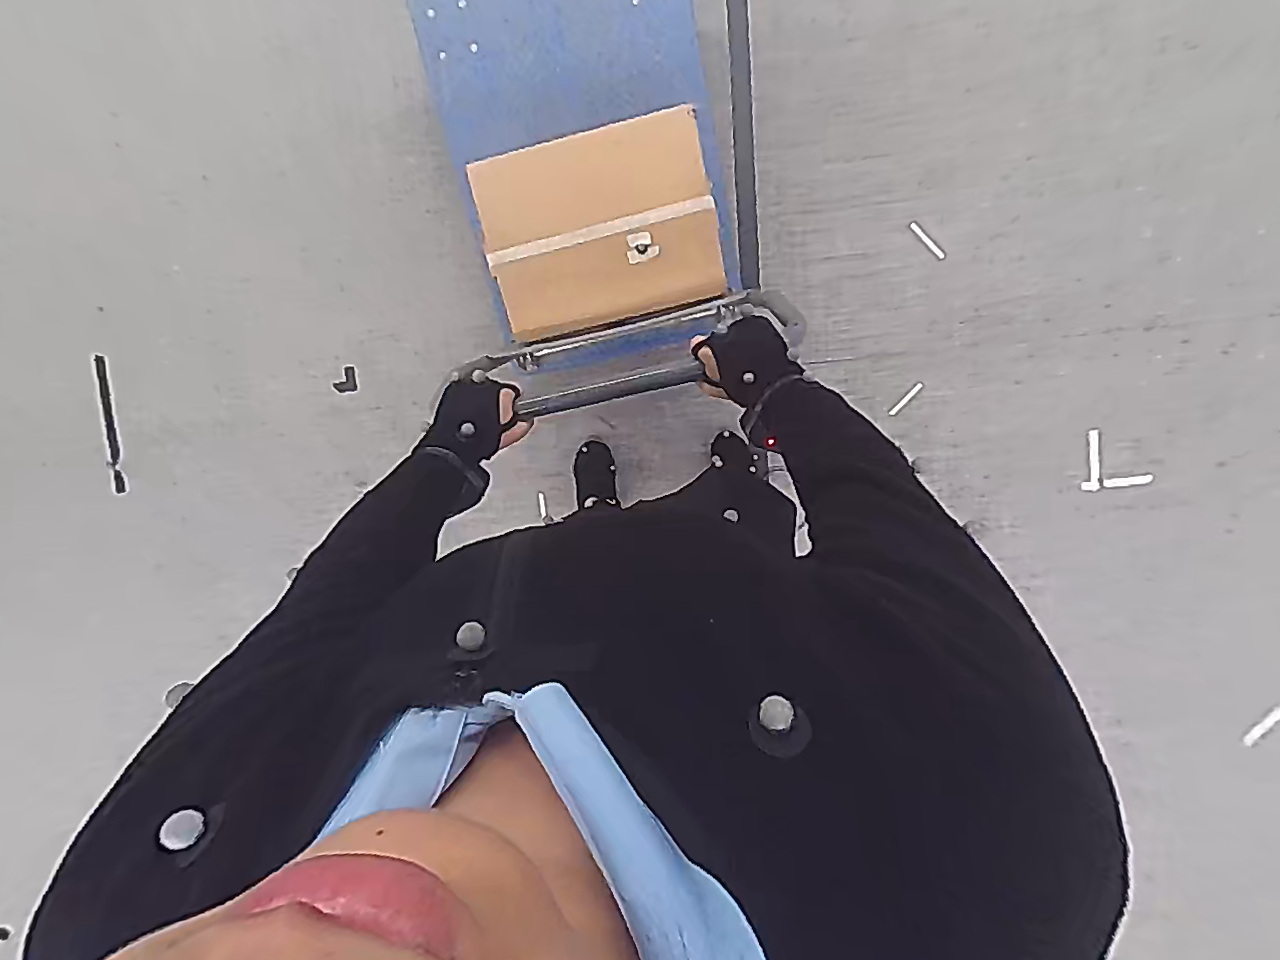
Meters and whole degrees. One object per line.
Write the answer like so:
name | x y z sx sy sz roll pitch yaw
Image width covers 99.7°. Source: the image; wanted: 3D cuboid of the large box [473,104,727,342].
large box | -0.068 -0.488 1.114 0.408 0.320 0.320 -13 106 4
